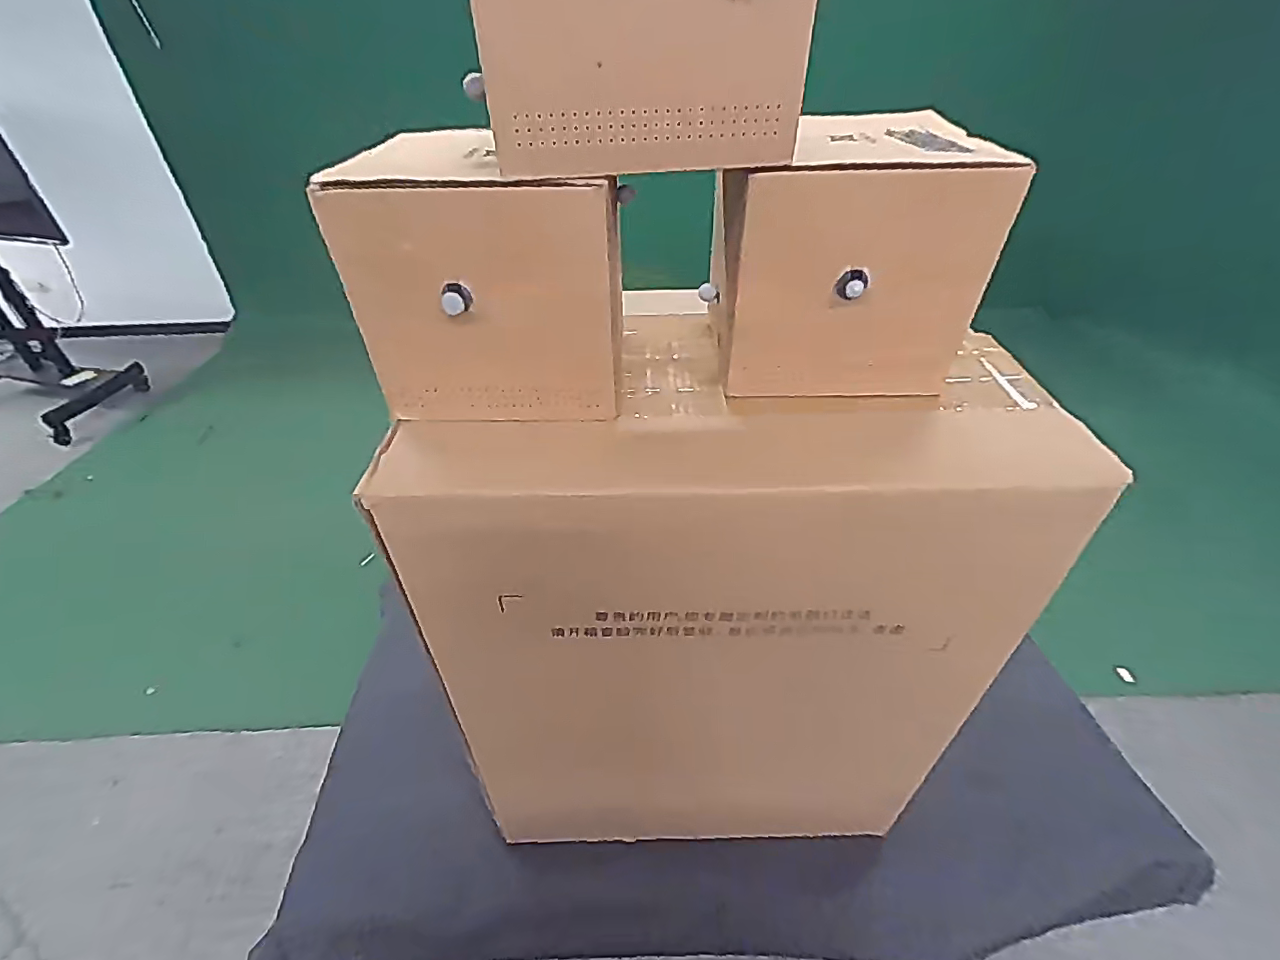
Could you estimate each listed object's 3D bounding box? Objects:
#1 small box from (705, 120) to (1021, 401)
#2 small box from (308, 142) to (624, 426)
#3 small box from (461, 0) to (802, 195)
[{"bbox_3d":[0.150,-0.177,0.441,0.179,0.176,0.168,-1,42,2],"label":"small box"},{"bbox_3d":[-0.107,-0.154,0.426,0.179,0.176,0.168,0,42,1],"label":"small box"},{"bbox_3d":[-0.011,-0.284,0.323,0.179,0.176,0.168,-8,41,-6],"label":"small box"}]
